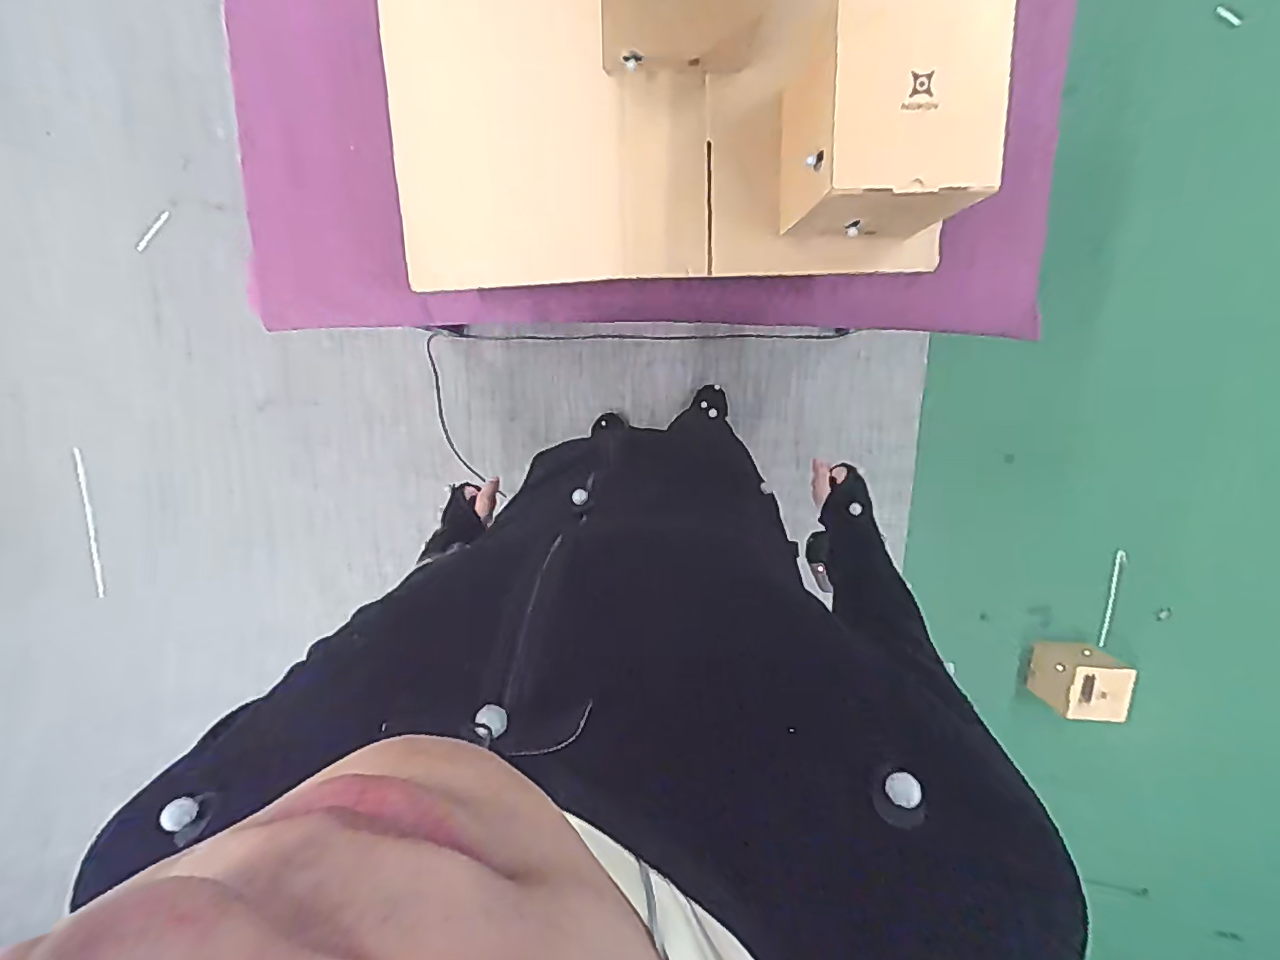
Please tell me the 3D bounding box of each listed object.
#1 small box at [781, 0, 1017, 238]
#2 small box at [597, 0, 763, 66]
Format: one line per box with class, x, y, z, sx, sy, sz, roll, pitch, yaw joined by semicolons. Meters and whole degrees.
small box;0.254;-0.371;0.573;0.168;0.176;0.179;-2;101;-2
small box;0.039;-0.544;0.530;0.168;0.176;0.179;-3;100;-3
